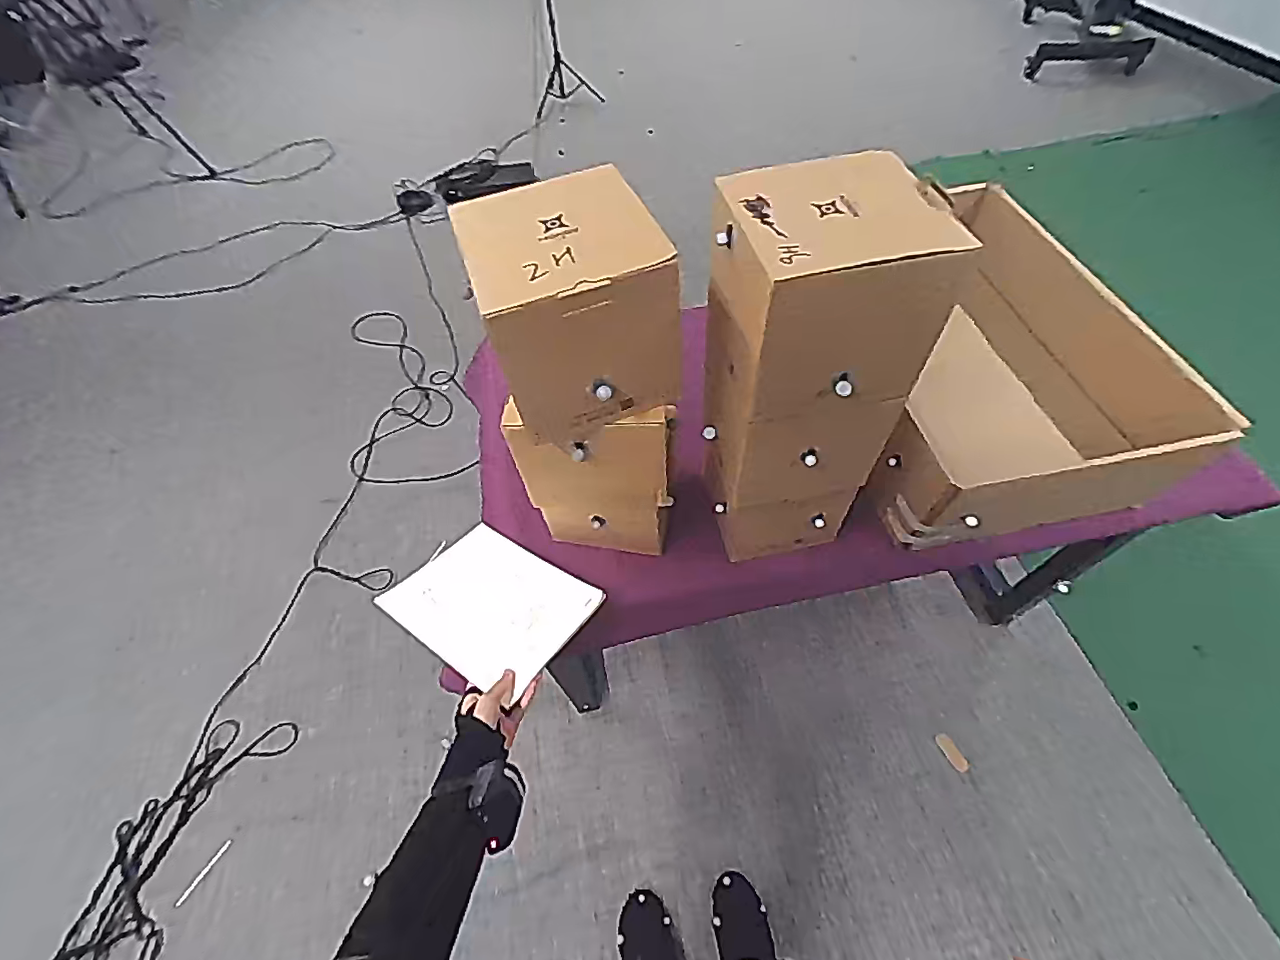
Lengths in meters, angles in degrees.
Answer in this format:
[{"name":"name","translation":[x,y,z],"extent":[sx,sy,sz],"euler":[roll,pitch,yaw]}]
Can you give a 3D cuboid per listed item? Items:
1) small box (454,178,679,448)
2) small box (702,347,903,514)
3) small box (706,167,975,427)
[{"name":"small box","translation":[-0.068,-0.163,0.541],"extent":[0.168,0.176,0.179],"euler":[-19,56,-8]},{"name":"small box","translation":[0.180,-0.079,0.665],"extent":[0.179,0.176,0.168],"euler":[-10,54,-3]},{"name":"small box","translation":[0.171,-0.174,0.531],"extent":[0.179,0.176,0.168],"euler":[-10,54,-4]}]
